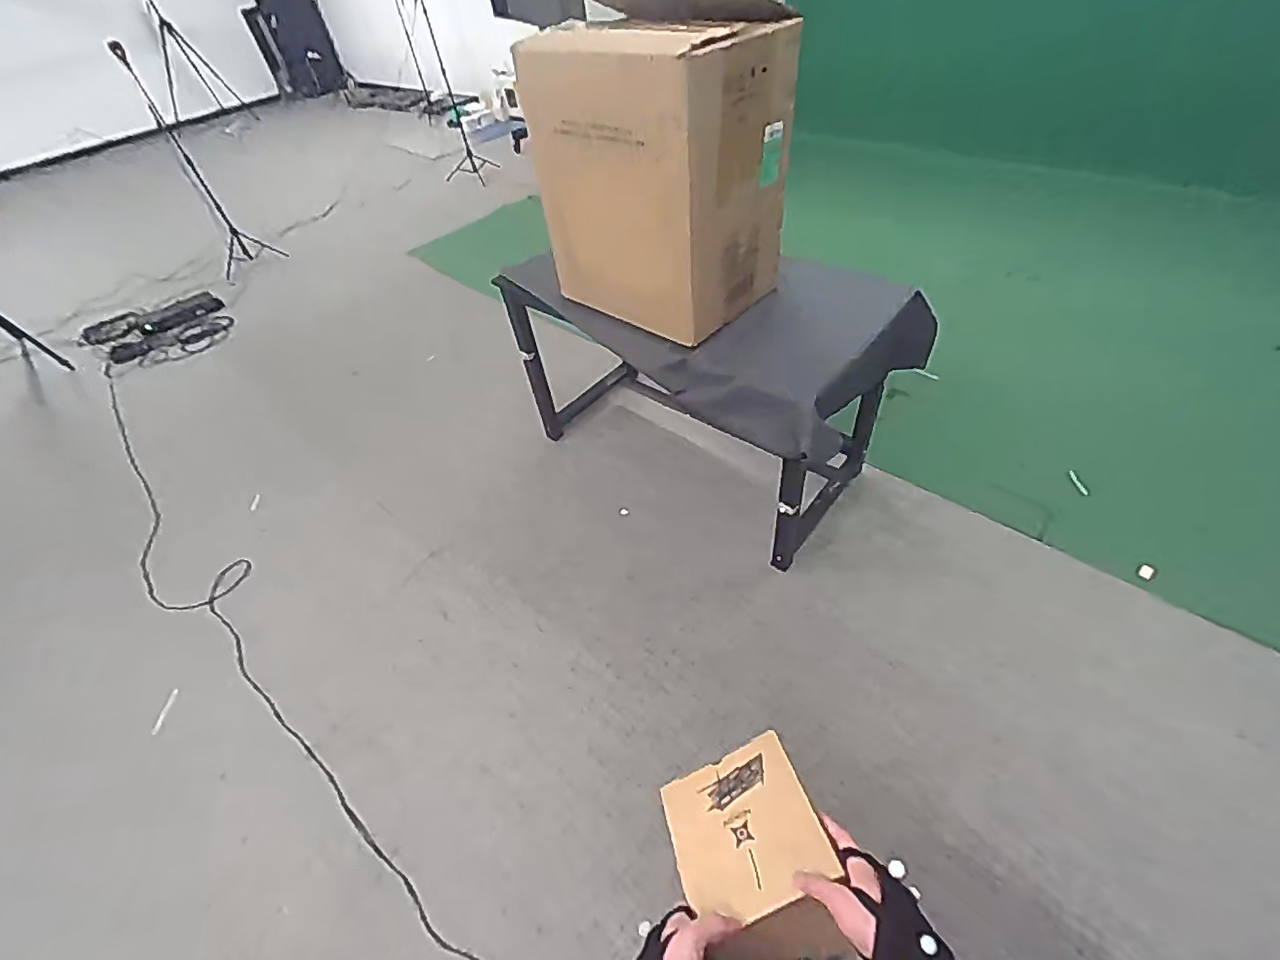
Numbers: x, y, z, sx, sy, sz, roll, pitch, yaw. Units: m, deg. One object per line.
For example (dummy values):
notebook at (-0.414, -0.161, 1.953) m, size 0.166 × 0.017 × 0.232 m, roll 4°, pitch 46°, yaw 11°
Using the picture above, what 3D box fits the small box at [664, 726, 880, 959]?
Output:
small box at (0.151, 0.443, 0.643) m, size 0.168 × 0.176 × 0.179 m, roll -29°, pitch 26°, yaw 2°
